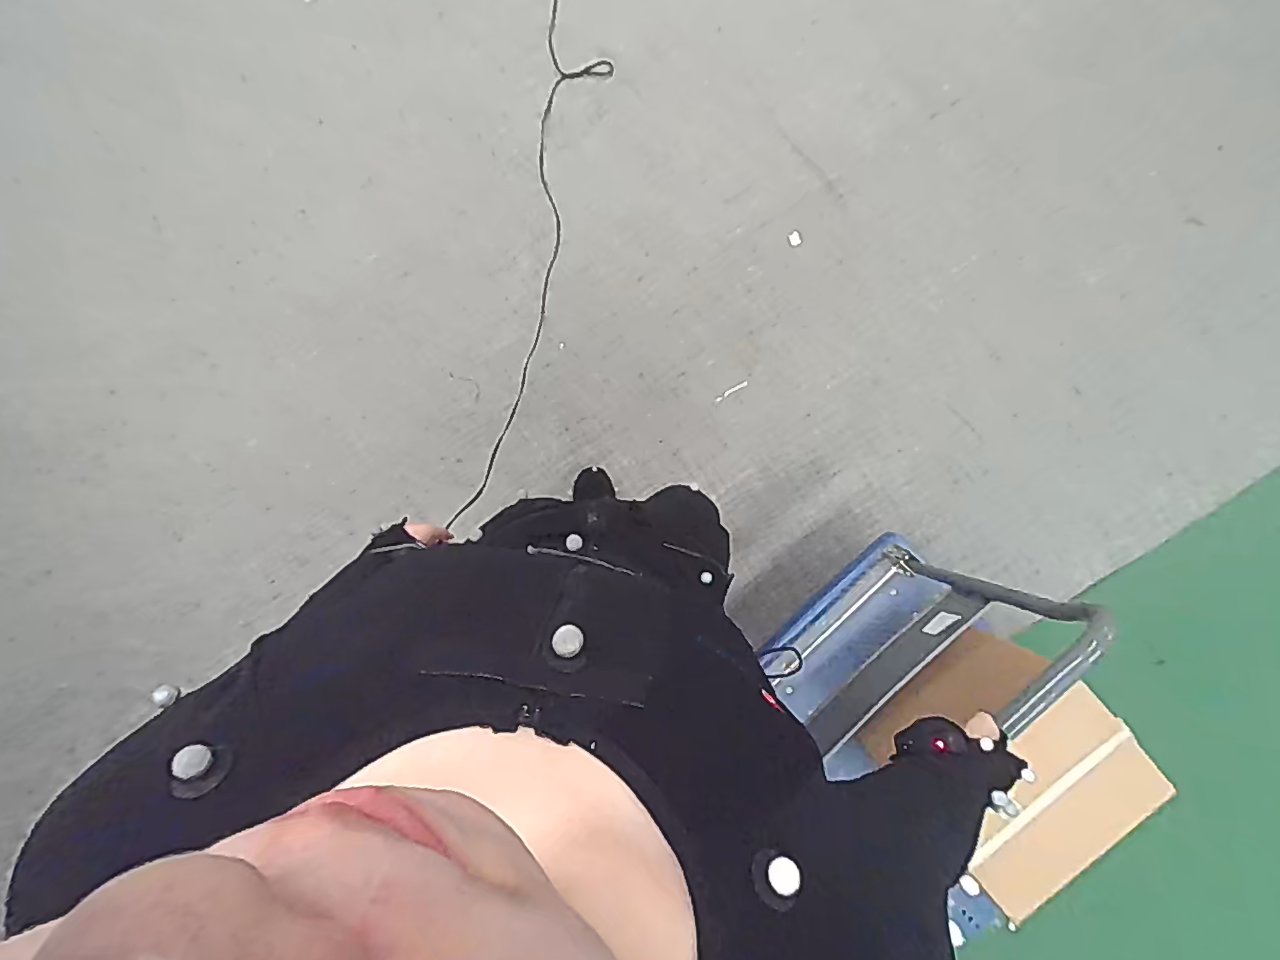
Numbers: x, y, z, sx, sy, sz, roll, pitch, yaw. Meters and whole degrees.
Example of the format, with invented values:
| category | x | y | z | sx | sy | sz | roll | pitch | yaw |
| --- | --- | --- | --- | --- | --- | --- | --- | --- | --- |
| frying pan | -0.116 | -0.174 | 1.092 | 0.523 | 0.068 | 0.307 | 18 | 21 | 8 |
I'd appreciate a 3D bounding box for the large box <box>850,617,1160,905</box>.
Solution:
| category | x | y | z | sx | sy | sz | roll | pitch | yaw |
| --- | --- | --- | --- | --- | --- | --- | --- | --- | --- |
| large box | 0.761 | 0.578 | 1.190 | 0.408 | 0.320 | 0.320 | -41 | 90 | 1 |
